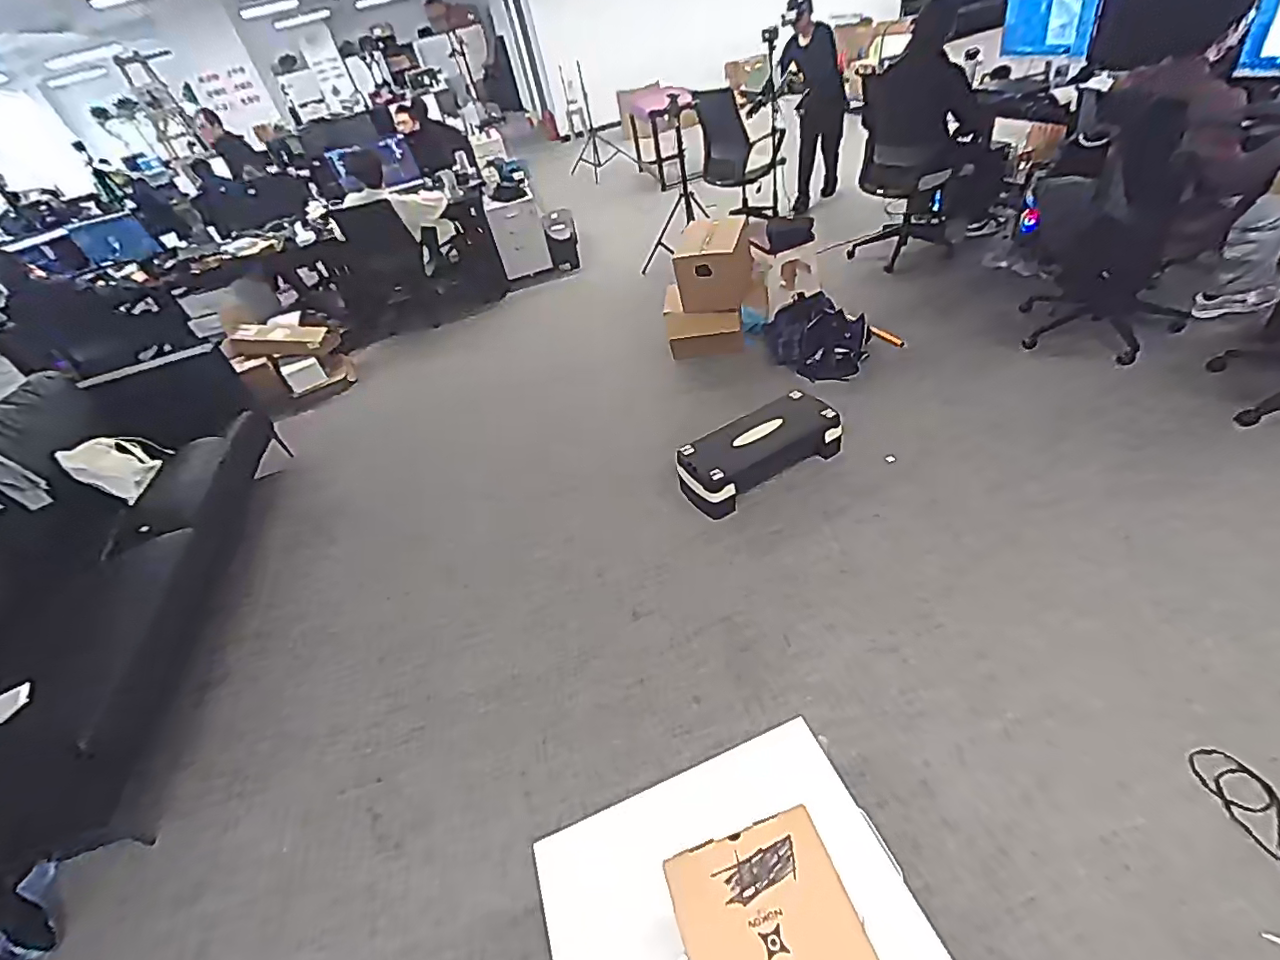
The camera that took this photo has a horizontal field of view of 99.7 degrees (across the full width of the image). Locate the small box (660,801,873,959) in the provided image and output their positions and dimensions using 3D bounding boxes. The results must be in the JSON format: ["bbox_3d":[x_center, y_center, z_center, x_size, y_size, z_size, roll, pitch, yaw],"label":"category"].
[{"bbox_3d":[0.131,0.482,0.566,0.168,0.176,0.179,-18,40,-6],"label":"small box"}]
